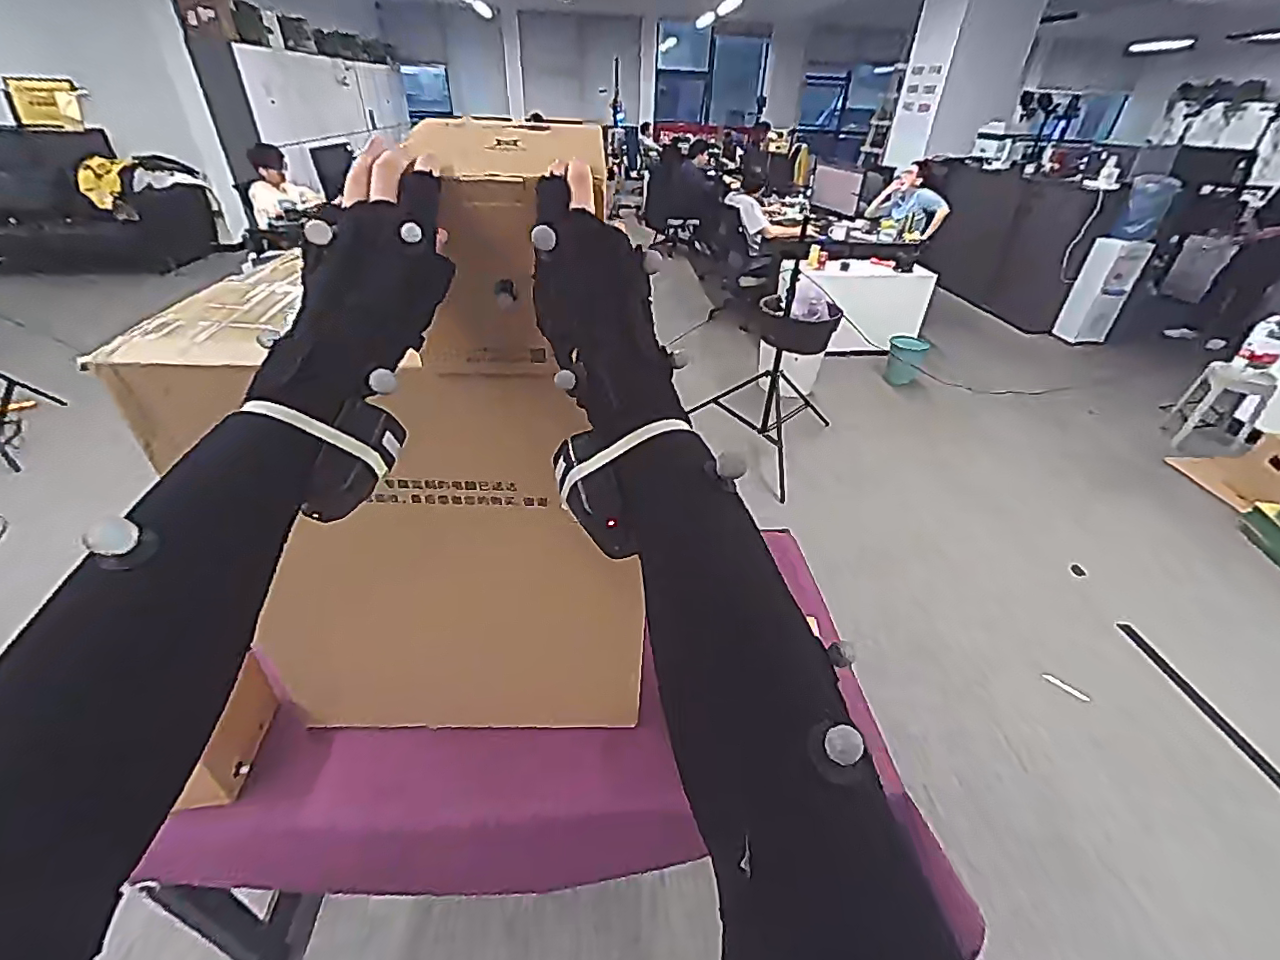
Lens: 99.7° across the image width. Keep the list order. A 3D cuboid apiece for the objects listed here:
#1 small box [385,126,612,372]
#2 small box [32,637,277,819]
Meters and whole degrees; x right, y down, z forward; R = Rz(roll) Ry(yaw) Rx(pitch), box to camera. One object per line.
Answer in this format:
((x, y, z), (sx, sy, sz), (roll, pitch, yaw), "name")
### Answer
((-0.111, -0.214, 0.507), (0.168, 0.176, 0.179), (-2, 44, -5), "small box")
((-0.654, 0.346, 0.763), (0.179, 0.176, 0.168), (-3, 34, -9), "small box")
